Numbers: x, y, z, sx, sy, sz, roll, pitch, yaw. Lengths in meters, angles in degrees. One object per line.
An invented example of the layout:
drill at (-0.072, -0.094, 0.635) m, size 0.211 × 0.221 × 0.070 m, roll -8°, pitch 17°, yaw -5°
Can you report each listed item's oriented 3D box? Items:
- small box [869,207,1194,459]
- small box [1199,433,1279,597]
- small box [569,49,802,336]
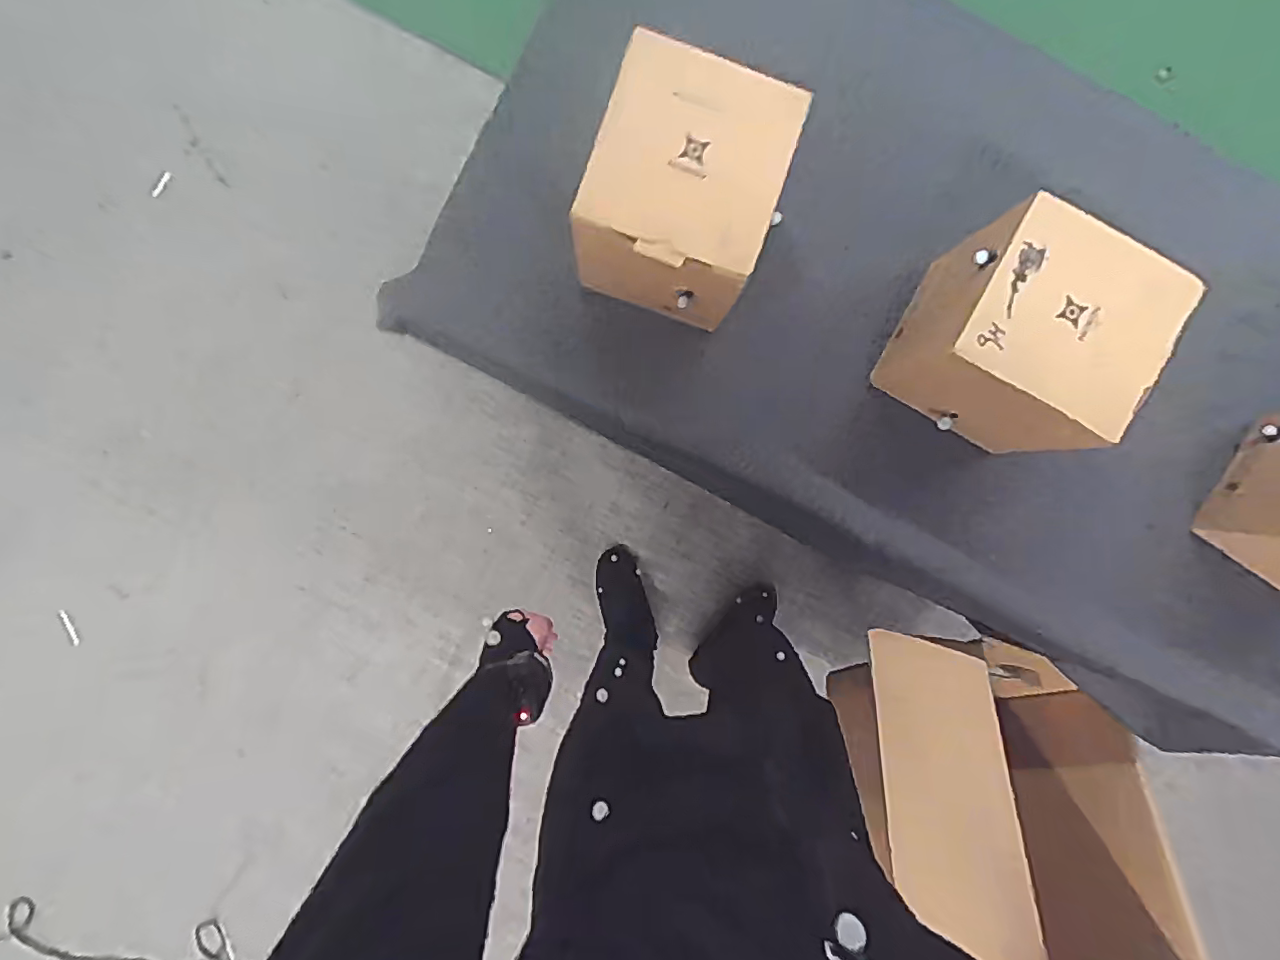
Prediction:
small box at (0.382, -0.133, 0.561) m, size 0.179 × 0.176 × 0.168 m, roll 29°, pitch 89°, yaw -2°
small box at (0.774, 0.046, 0.570) m, size 0.179 × 0.176 × 0.168 m, roll 33°, pitch 89°, yaw -2°
small box at (0.038, -0.268, 0.552) m, size 0.168 × 0.176 × 0.179 m, roll 18°, pitch 87°, yaw -3°
